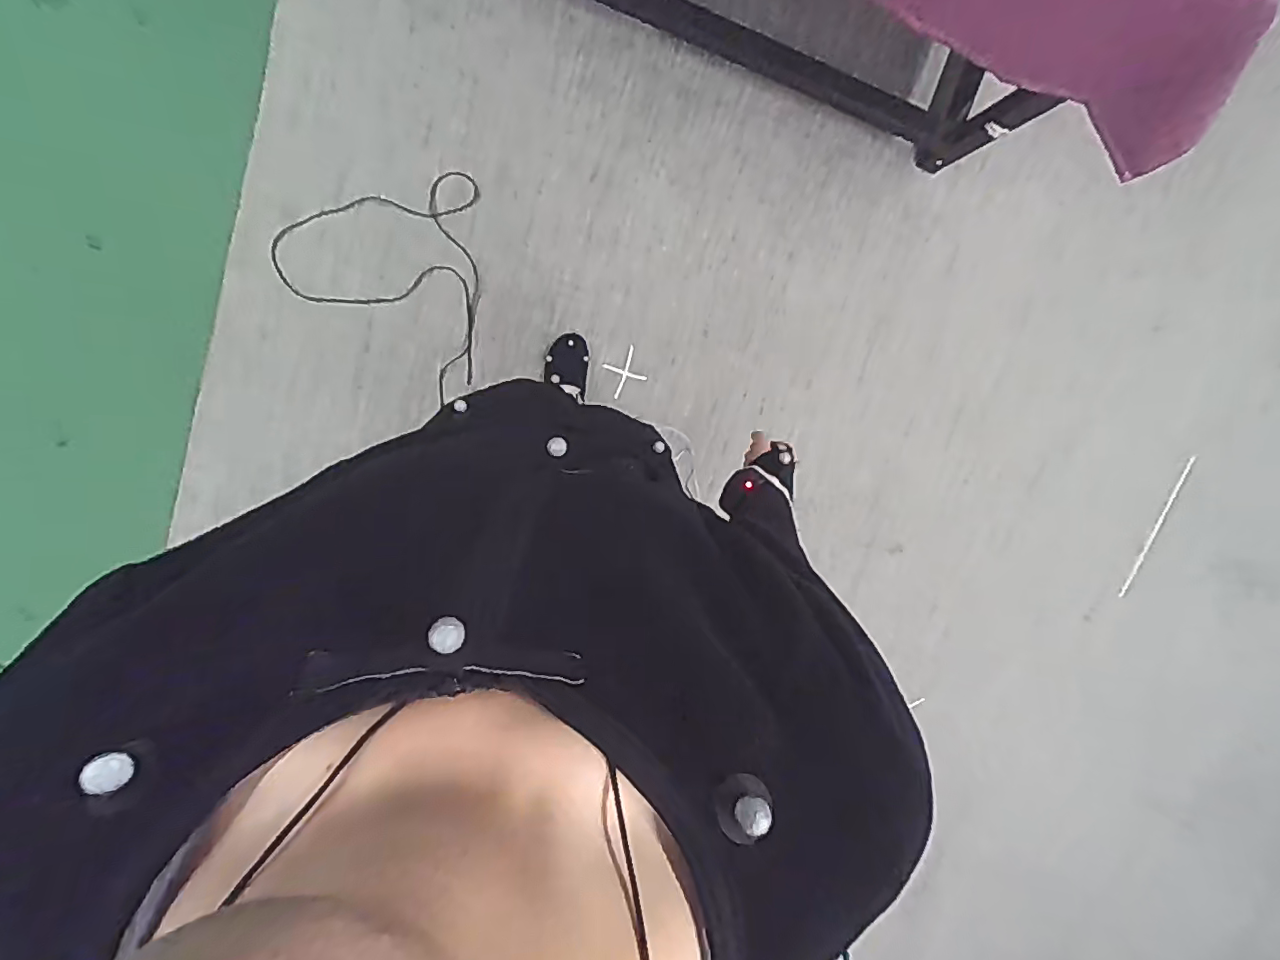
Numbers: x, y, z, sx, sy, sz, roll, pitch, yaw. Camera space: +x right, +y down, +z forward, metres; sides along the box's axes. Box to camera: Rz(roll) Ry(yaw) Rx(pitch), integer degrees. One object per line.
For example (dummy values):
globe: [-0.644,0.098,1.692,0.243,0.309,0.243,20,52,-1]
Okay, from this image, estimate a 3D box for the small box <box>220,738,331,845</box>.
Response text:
small box: [-0.951,0.813,1.426,0.179,0.176,0.168,17,98,-10]
